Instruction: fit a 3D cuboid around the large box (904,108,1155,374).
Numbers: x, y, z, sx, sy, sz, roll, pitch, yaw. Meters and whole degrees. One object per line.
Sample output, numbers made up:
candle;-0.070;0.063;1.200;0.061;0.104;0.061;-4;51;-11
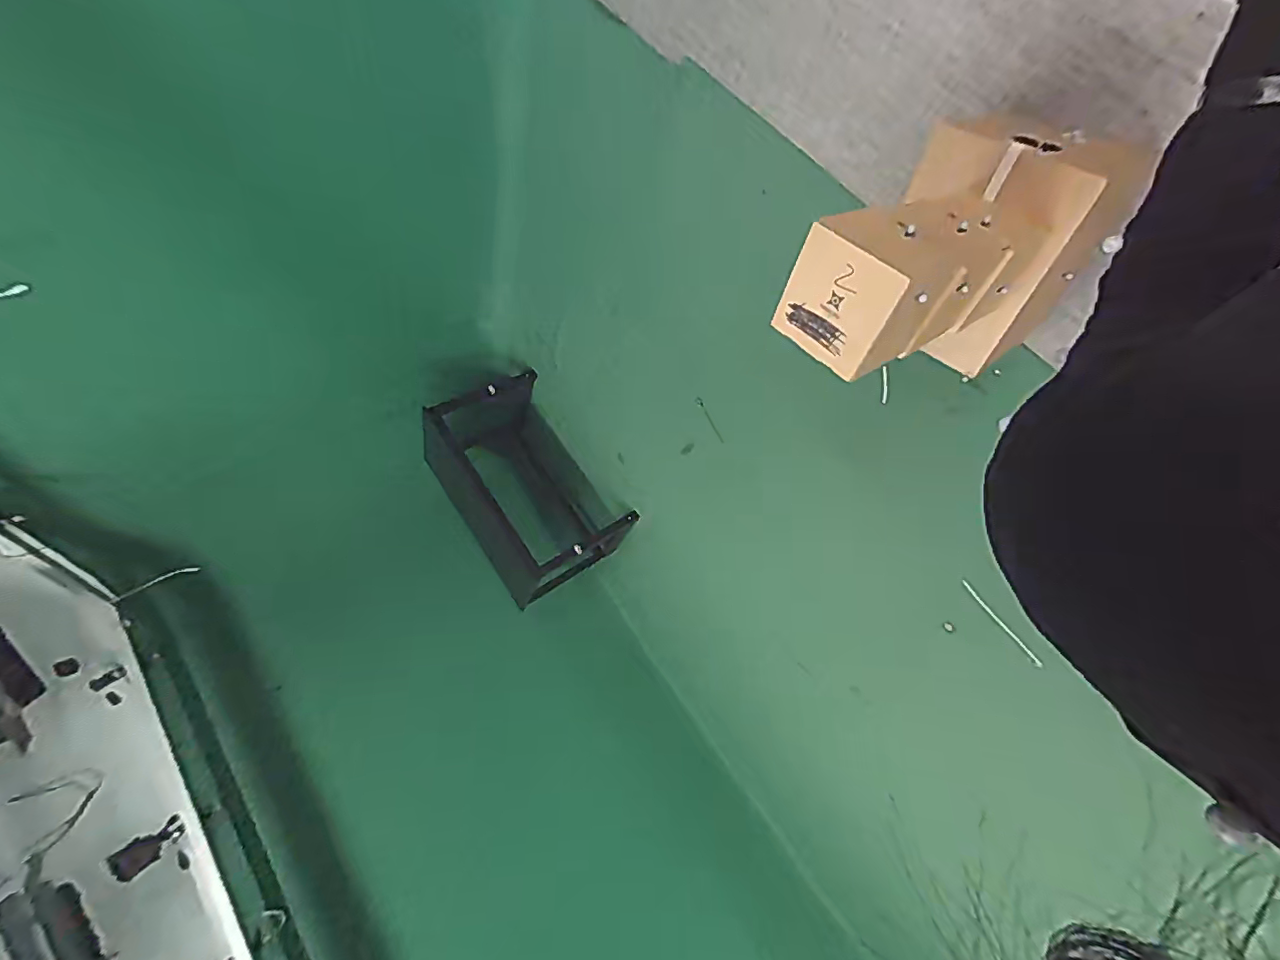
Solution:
large box;0.753;-0.514;1.155;0.320;0.320;0.408;43;146;29

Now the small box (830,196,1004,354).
small box;0.466;-0.348;0.914;0.168;0.176;0.179;46;146;23

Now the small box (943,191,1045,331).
small box;0.591;-0.410;0.997;0.179;0.176;0.168;45;146;24
